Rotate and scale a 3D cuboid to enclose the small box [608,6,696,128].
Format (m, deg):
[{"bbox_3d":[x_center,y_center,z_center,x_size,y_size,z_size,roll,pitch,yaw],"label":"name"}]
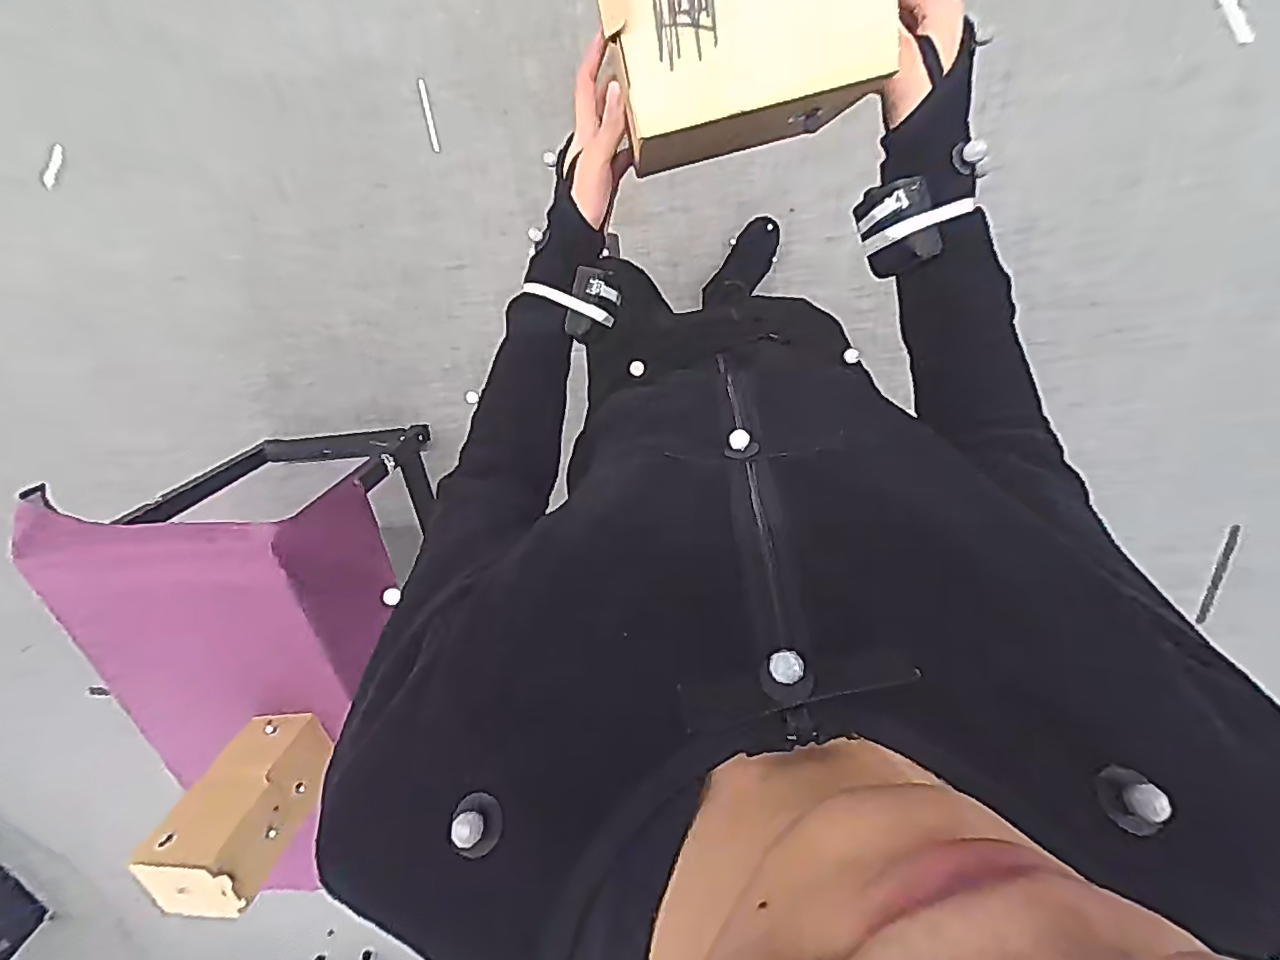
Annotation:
[{"bbox_3d":[0.034,-0.905,1.205,0.168,0.176,0.179,-7,115,8],"label":"small box"}]

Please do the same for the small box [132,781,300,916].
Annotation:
[{"bbox_3d":[-0.847,0.741,1.100,0.179,0.176,0.168,-3,116,7],"label":"small box"}]

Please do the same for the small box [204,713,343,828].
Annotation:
[{"bbox_3d":[-0.830,0.667,1.246,0.168,0.176,0.179,-8,115,9],"label":"small box"}]
